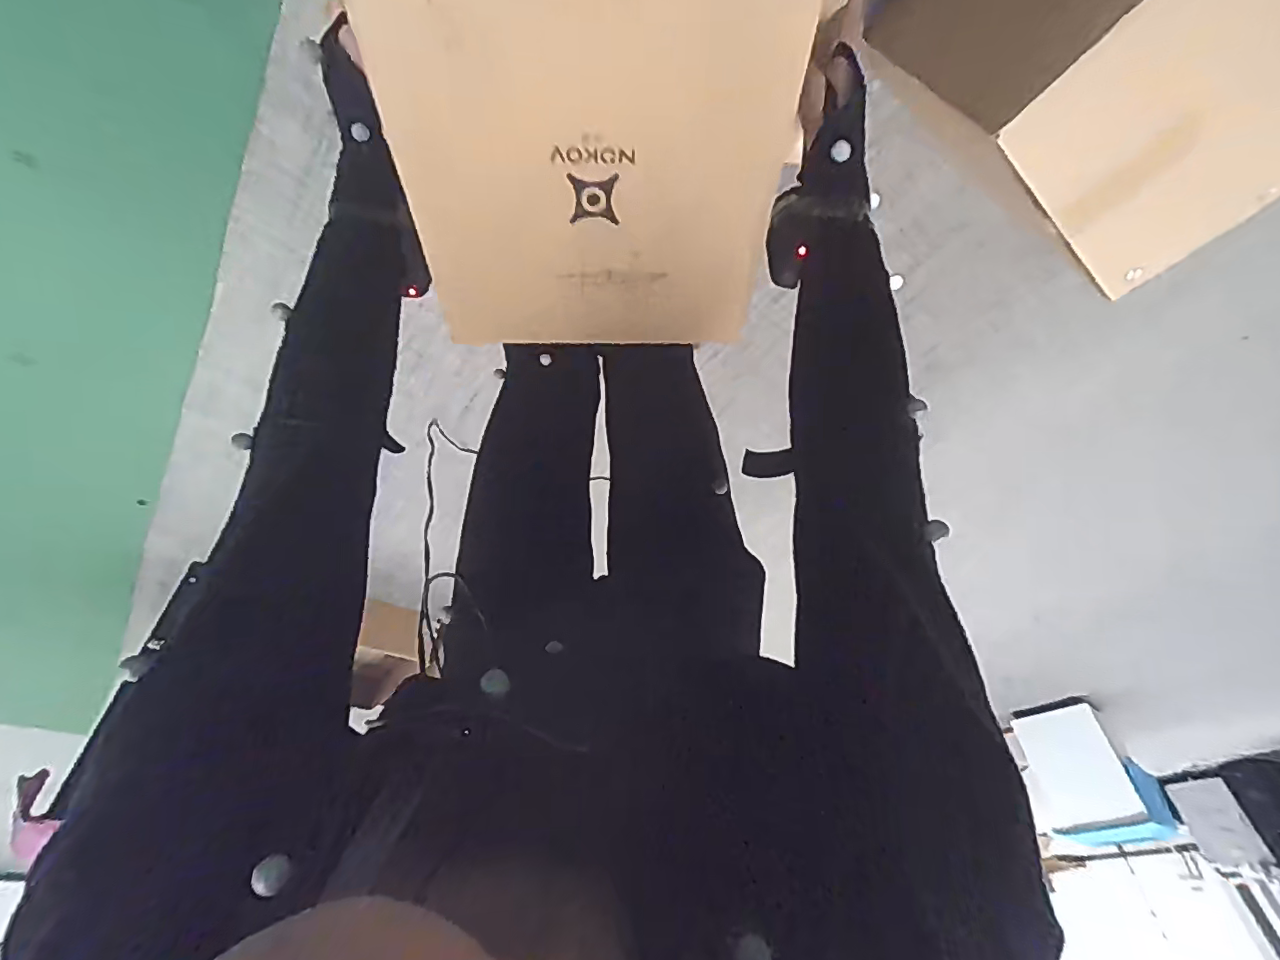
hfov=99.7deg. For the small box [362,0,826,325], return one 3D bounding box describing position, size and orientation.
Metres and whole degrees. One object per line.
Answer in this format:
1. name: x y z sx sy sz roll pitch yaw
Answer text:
1. small box: -0.023 -0.203 0.278 0.168 0.176 0.179 0 145 -4
